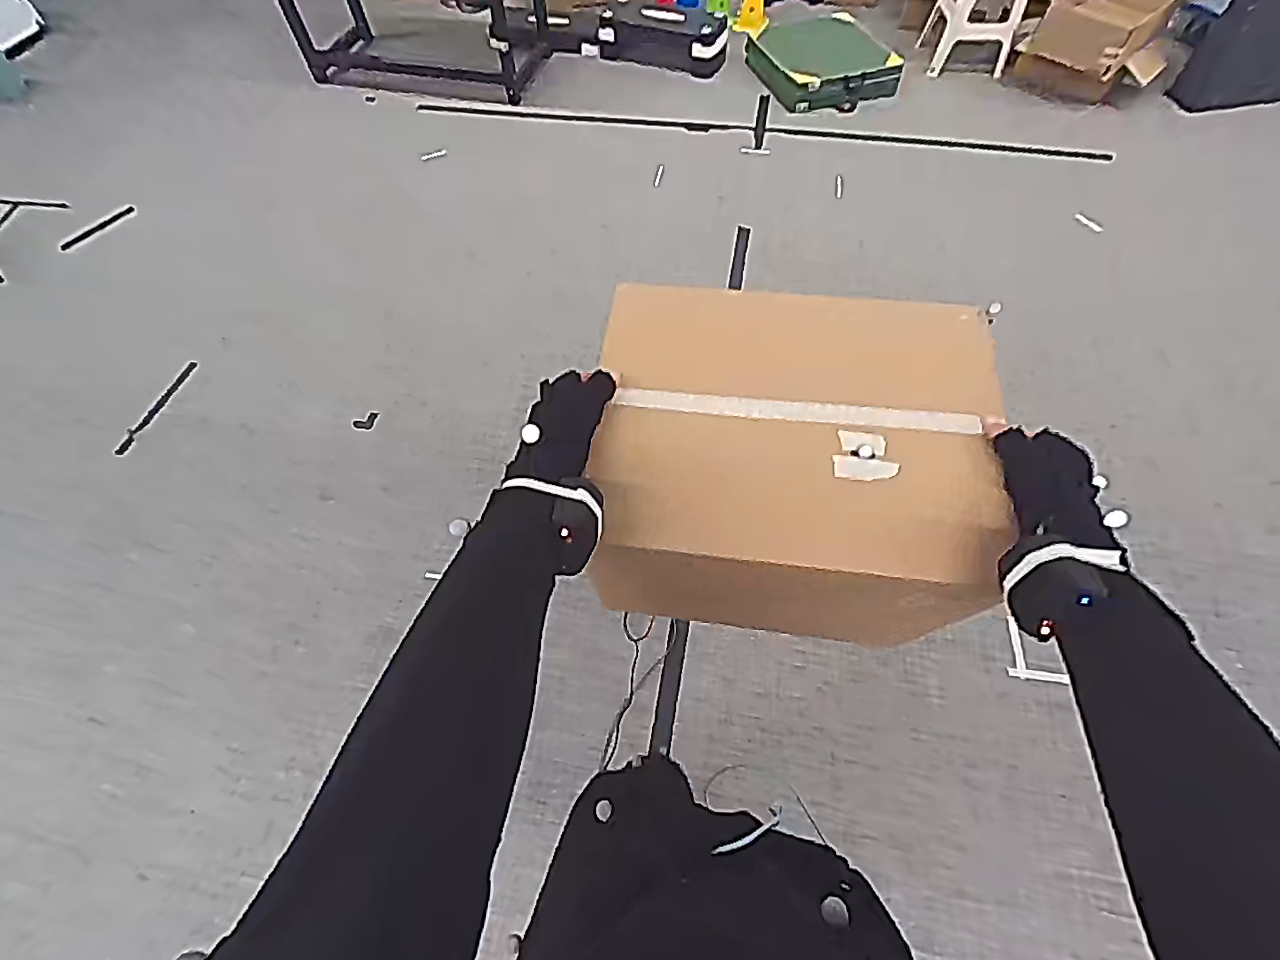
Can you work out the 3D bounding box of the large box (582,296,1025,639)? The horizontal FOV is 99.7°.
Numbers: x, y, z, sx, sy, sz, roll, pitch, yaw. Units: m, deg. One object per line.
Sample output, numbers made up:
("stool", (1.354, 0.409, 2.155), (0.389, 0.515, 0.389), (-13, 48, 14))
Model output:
("large box", (0.166, 0.001, 0.685), (0.408, 0.320, 0.320), (6, 66, 7))
